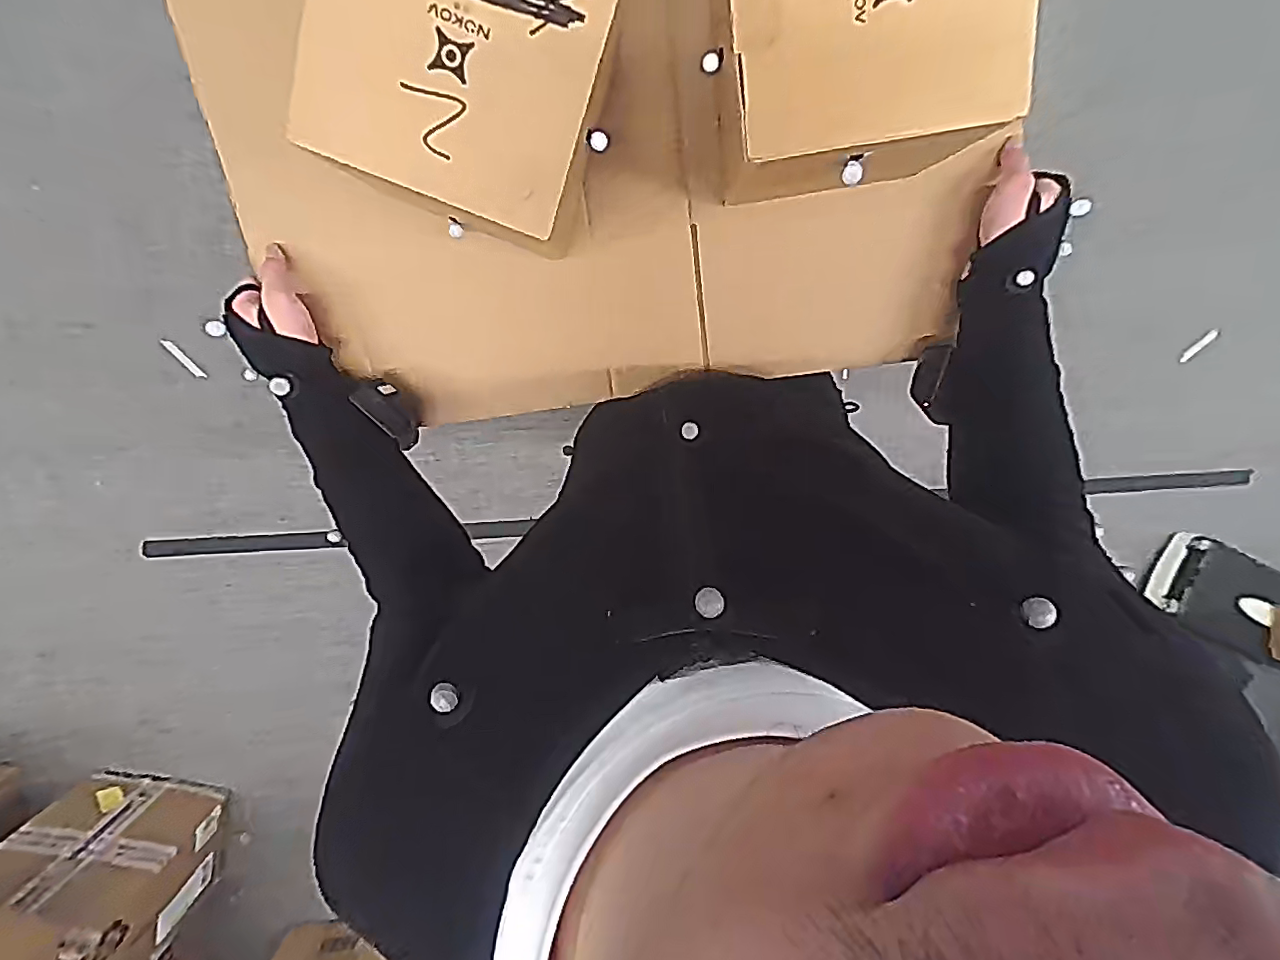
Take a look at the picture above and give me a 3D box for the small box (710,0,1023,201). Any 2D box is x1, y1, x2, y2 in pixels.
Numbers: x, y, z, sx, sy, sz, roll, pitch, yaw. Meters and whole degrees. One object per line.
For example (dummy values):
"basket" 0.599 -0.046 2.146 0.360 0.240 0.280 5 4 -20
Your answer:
"small box" 0.152 -0.325 0.410 0.179 0.176 0.168 -6 108 6
